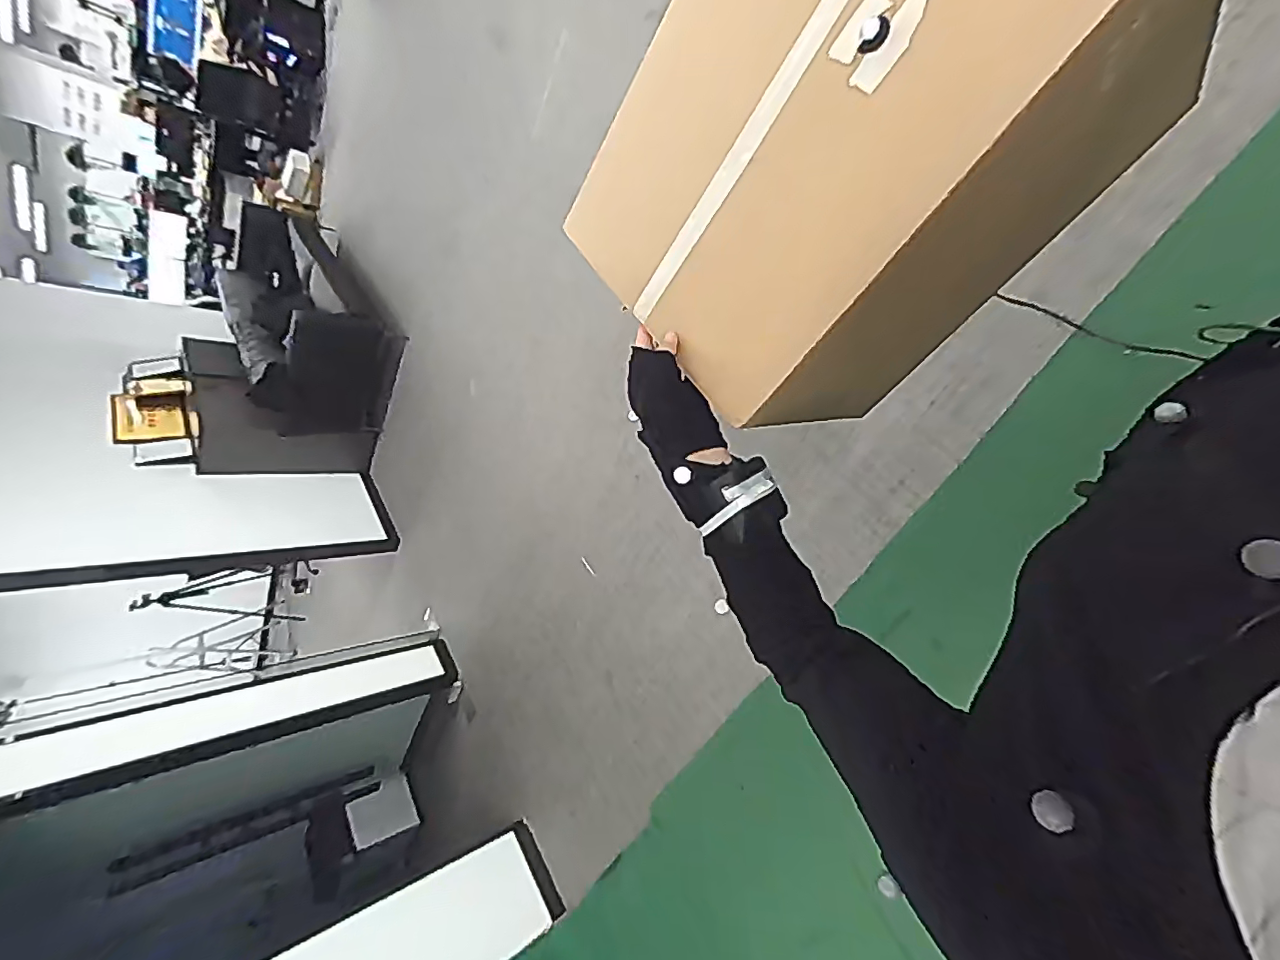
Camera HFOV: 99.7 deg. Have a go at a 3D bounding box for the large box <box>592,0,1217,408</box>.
[{"bbox_3d":[0.224,-0.319,0.542,0.320,0.320,0.408,54,127,22],"label":"large box"}]
